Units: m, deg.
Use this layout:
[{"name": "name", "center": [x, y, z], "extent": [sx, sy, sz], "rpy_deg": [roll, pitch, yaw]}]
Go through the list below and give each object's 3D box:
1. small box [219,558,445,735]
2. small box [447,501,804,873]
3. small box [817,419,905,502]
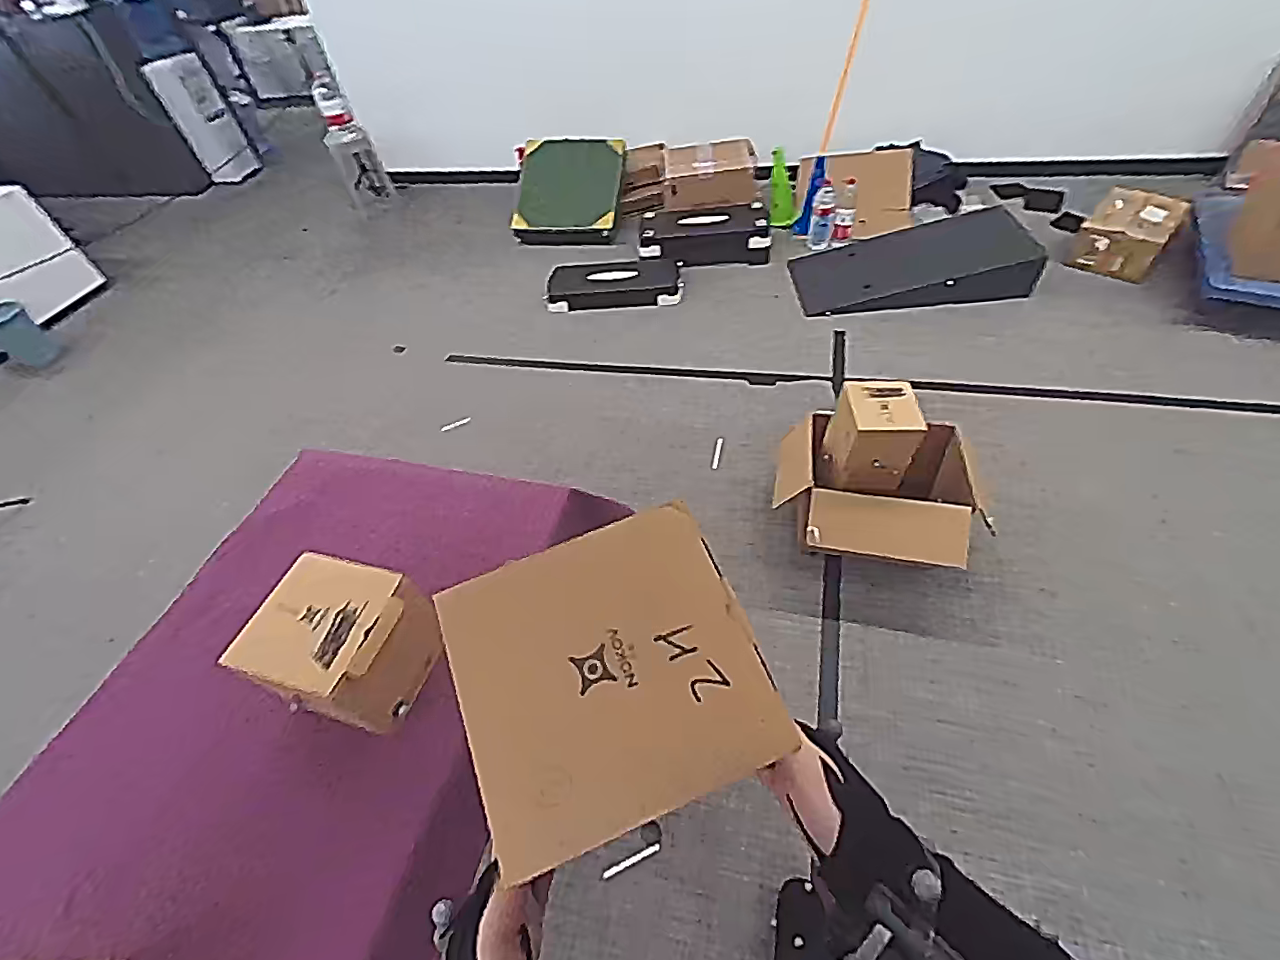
[{"name": "small box", "center": [-0.406, 0.234, 0.750], "extent": [0.179, 0.176, 0.168], "rpy_deg": [9, 52, 16]}, {"name": "small box", "center": [-0.012, 0.144, 0.393], "extent": [0.179, 0.176, 0.168], "rpy_deg": [-20, 65, -8]}, {"name": "small box", "center": [0.627, -0.051, 1.566], "extent": [0.179, 0.176, 0.168], "rpy_deg": [-8, 52, -4]}]
